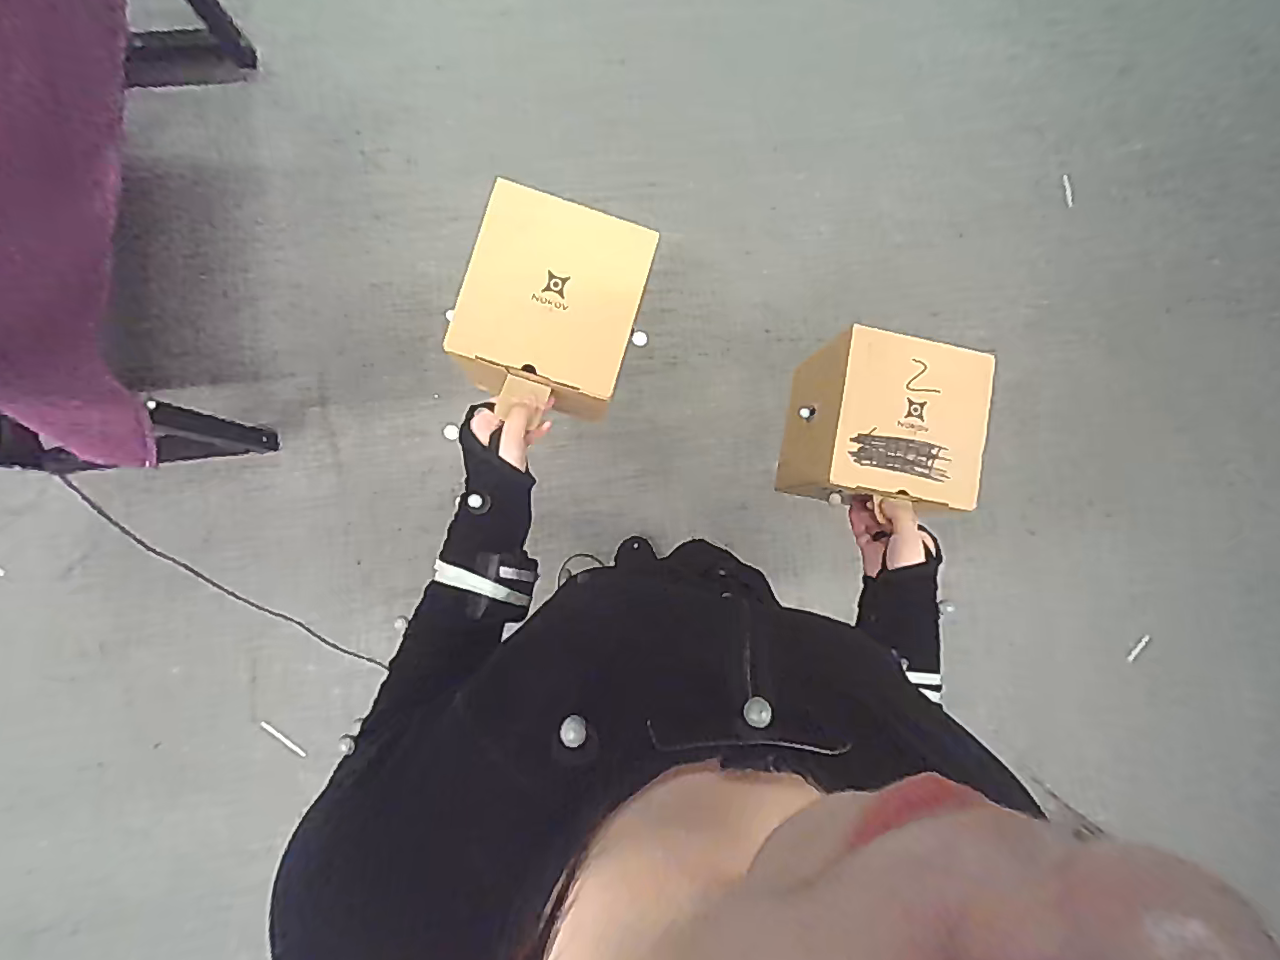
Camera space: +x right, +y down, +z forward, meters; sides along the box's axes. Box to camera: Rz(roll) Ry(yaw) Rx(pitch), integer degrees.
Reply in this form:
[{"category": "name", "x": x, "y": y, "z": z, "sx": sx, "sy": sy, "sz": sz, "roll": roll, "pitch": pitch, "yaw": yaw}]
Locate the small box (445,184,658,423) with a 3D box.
[{"category": "small box", "x": -0.092, "y": -0.175, "z": 0.596, "sx": 0.168, "sy": 0.176, "sz": 0.179, "roll": 17, "pitch": 87, "yaw": -6}]
